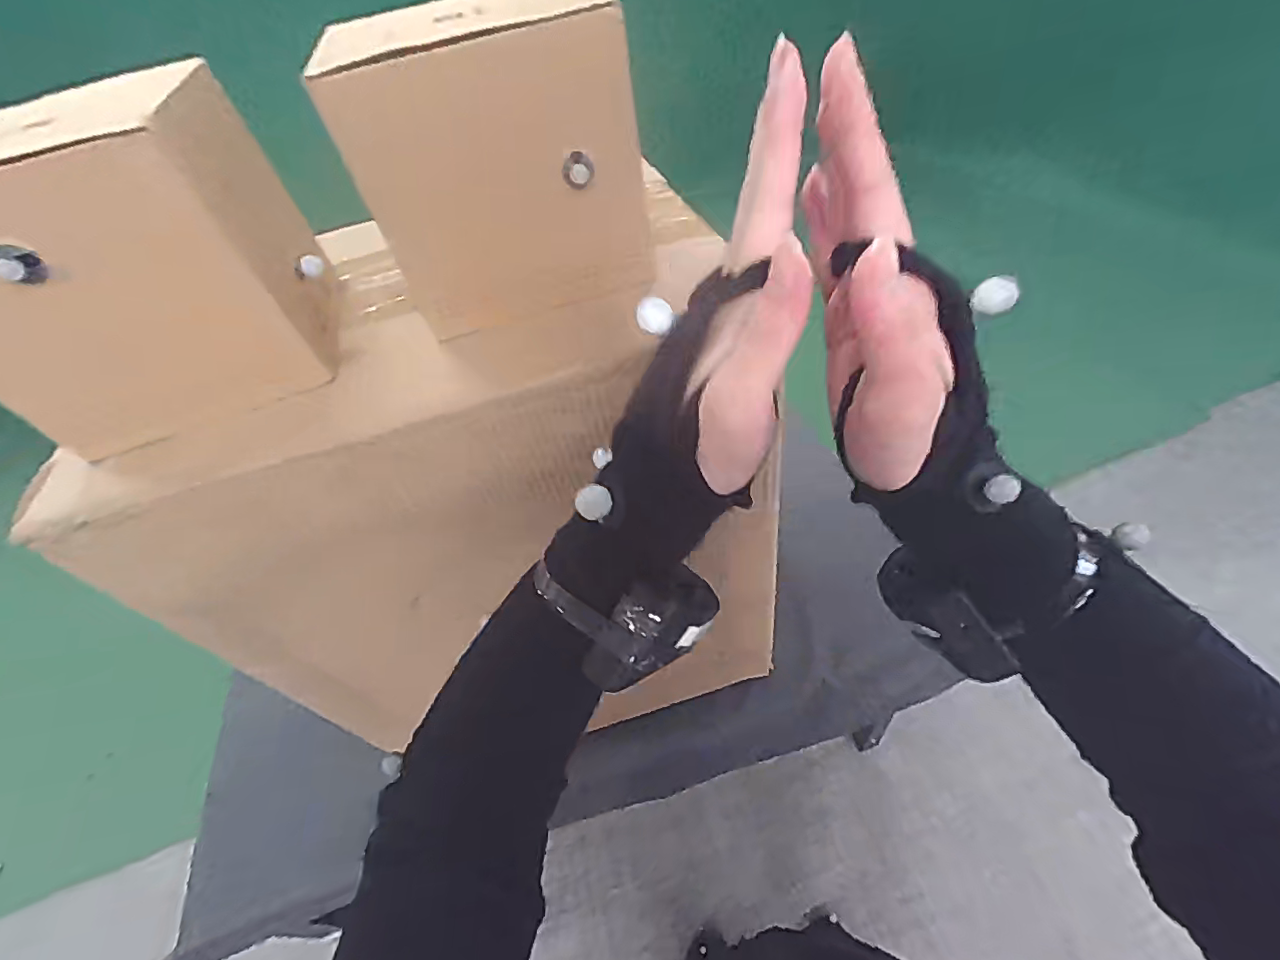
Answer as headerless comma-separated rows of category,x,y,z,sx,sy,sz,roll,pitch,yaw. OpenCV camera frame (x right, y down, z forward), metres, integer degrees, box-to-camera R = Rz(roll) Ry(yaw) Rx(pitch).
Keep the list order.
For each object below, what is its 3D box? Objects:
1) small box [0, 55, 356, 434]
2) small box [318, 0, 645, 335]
small box,-0.339,-0.158,0.384,0.179,0.176,0.168,-18,52,-2
small box,-0.101,-0.240,0.410,0.179,0.176,0.168,-18,49,-3
